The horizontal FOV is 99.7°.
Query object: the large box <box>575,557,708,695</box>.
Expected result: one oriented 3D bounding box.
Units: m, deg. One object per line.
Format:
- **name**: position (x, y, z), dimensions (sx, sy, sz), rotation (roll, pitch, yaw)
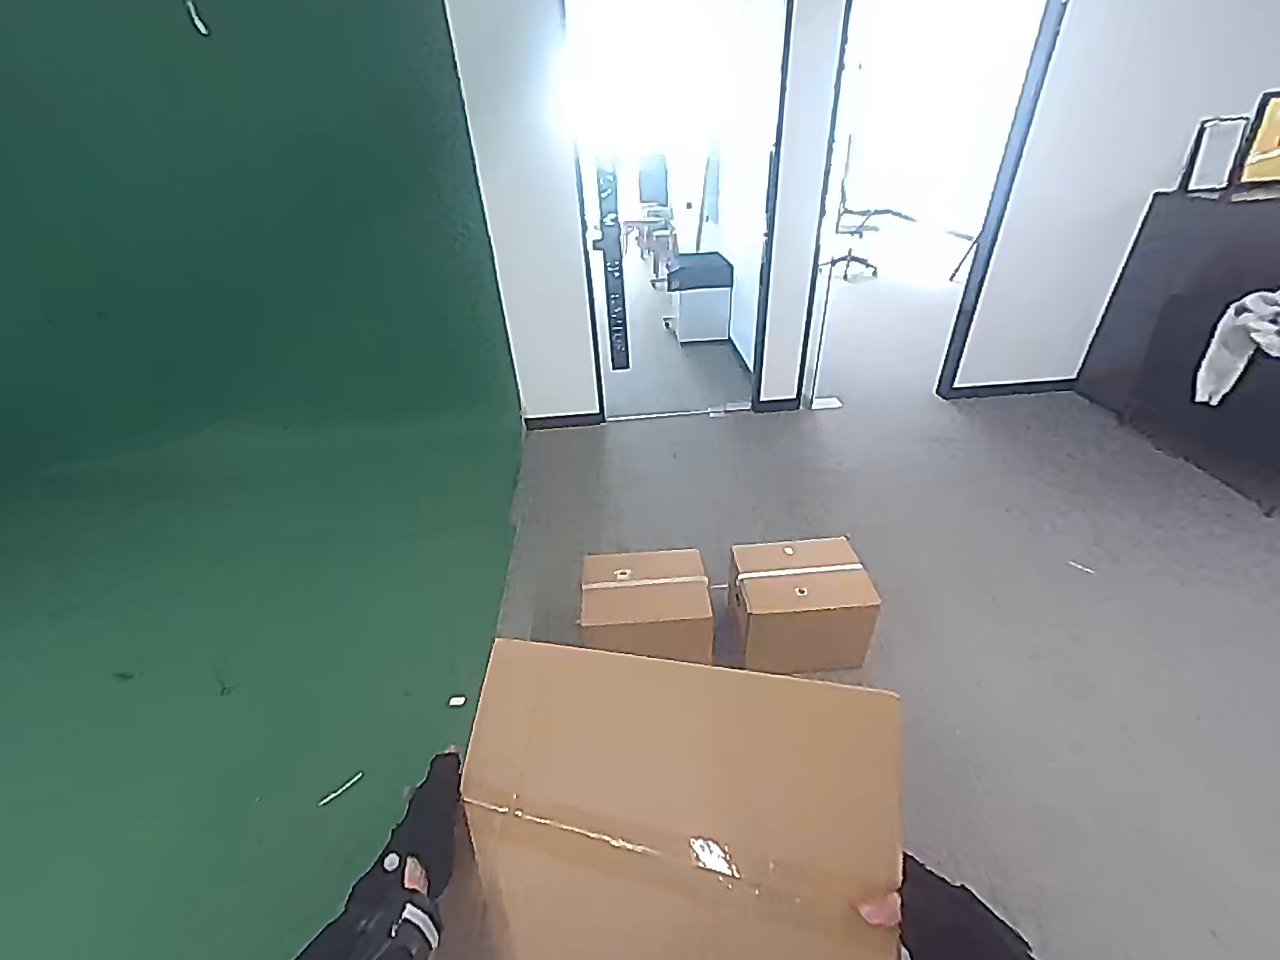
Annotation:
- **large box**: position (0.005, 0.488, 1.816), dimensions (0.408, 0.320, 0.320), rotation (-4, 33, 0)
